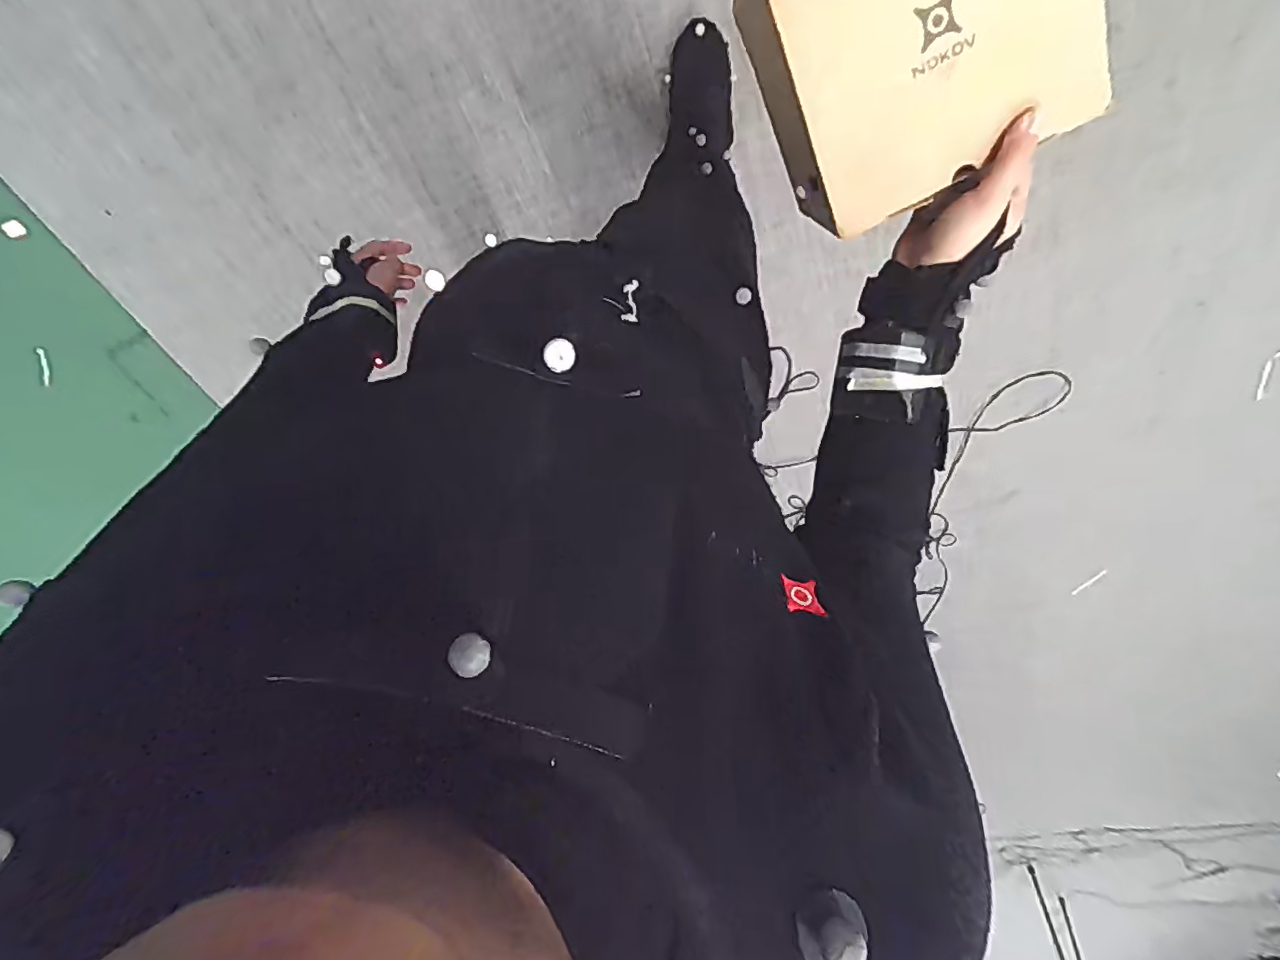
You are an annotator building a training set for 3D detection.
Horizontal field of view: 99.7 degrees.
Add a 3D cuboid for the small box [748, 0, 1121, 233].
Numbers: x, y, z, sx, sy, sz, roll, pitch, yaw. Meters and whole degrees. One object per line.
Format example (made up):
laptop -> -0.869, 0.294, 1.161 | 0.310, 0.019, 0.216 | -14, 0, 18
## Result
small box -> 0.186, -0.306, 0.381 | 0.168, 0.176, 0.179 | -22, 119, 18
